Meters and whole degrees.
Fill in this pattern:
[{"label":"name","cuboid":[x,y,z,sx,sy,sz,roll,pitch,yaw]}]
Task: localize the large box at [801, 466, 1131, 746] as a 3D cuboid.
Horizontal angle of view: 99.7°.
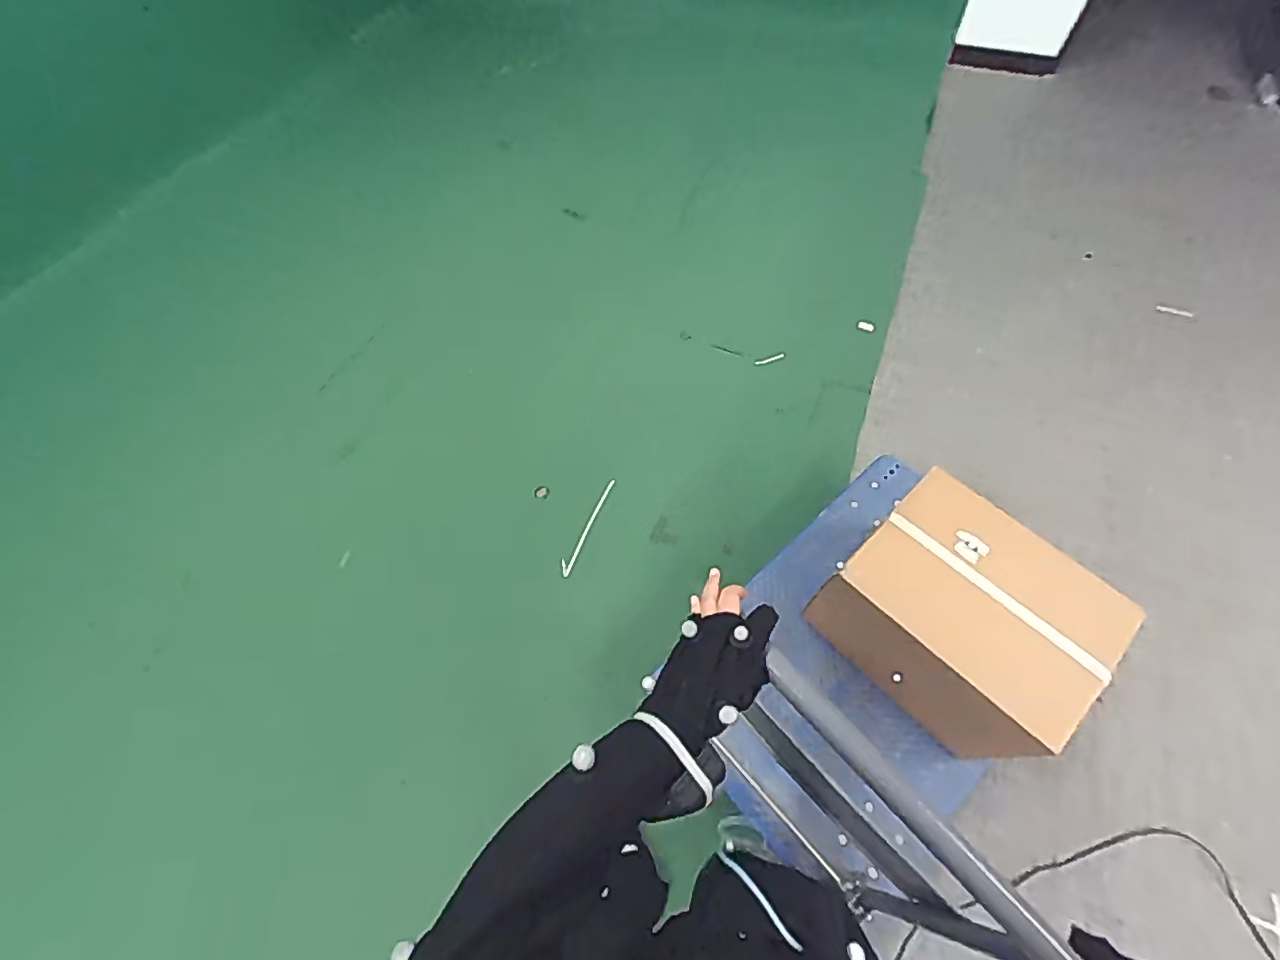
[{"label":"large box","cuboid":[0.600,0.257,1.075,0.320,0.320,0.408,-40,67,-18]}]
